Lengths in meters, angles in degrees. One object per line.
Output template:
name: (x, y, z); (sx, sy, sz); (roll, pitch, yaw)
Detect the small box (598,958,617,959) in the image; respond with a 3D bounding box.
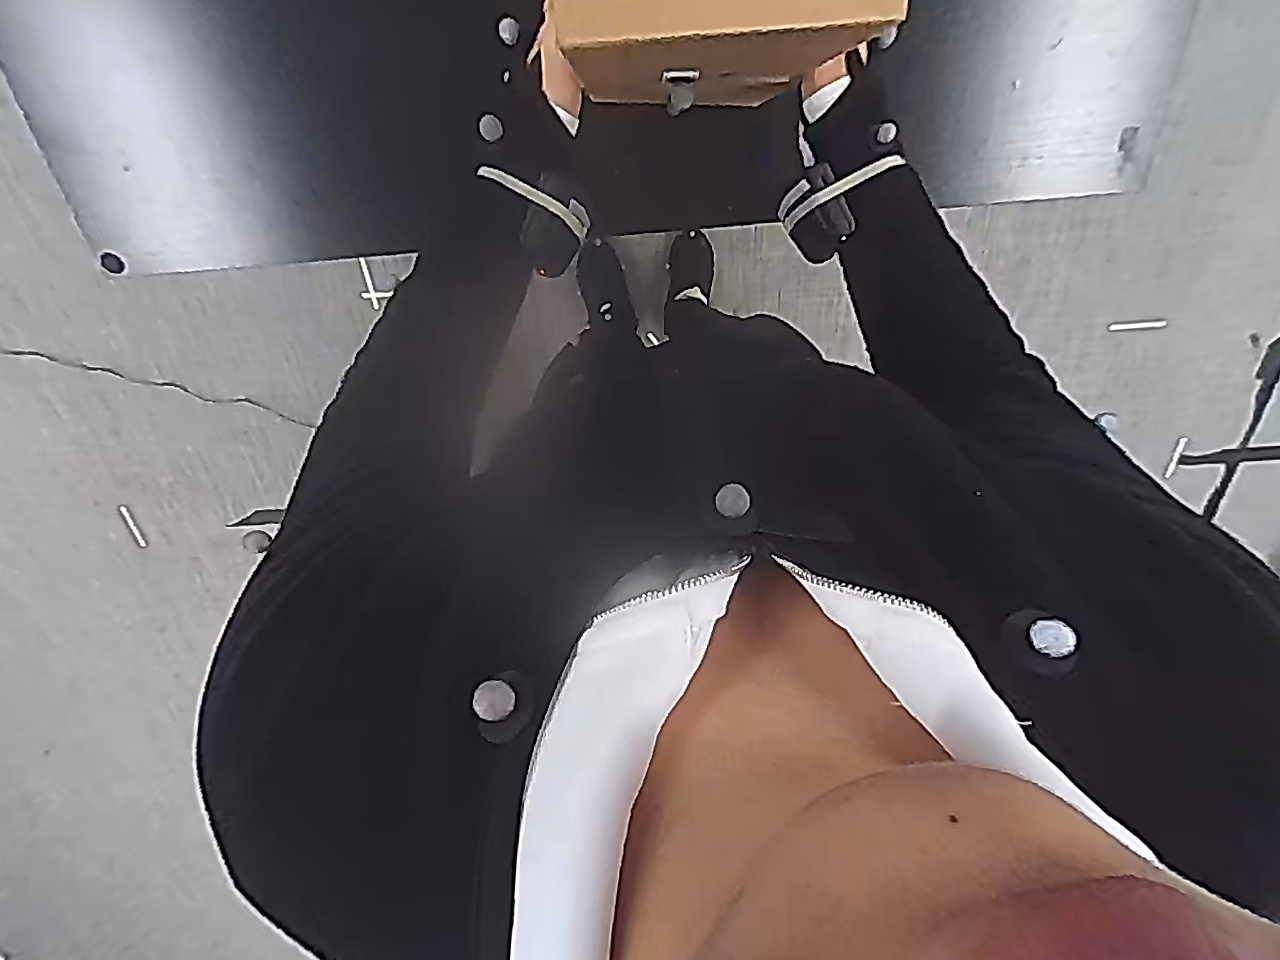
small box: (-0.134, 1.536, 1.573); (0.179, 0.176, 0.168); (-11, 113, 4)

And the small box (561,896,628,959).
small box: (-0.140, 1.474, 1.727); (0.179, 0.176, 0.168); (-11, 114, 4)

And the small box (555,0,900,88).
small box: (0.036, -0.329, 0.286); (0.168, 0.176, 0.179); (-3, 121, 2)
